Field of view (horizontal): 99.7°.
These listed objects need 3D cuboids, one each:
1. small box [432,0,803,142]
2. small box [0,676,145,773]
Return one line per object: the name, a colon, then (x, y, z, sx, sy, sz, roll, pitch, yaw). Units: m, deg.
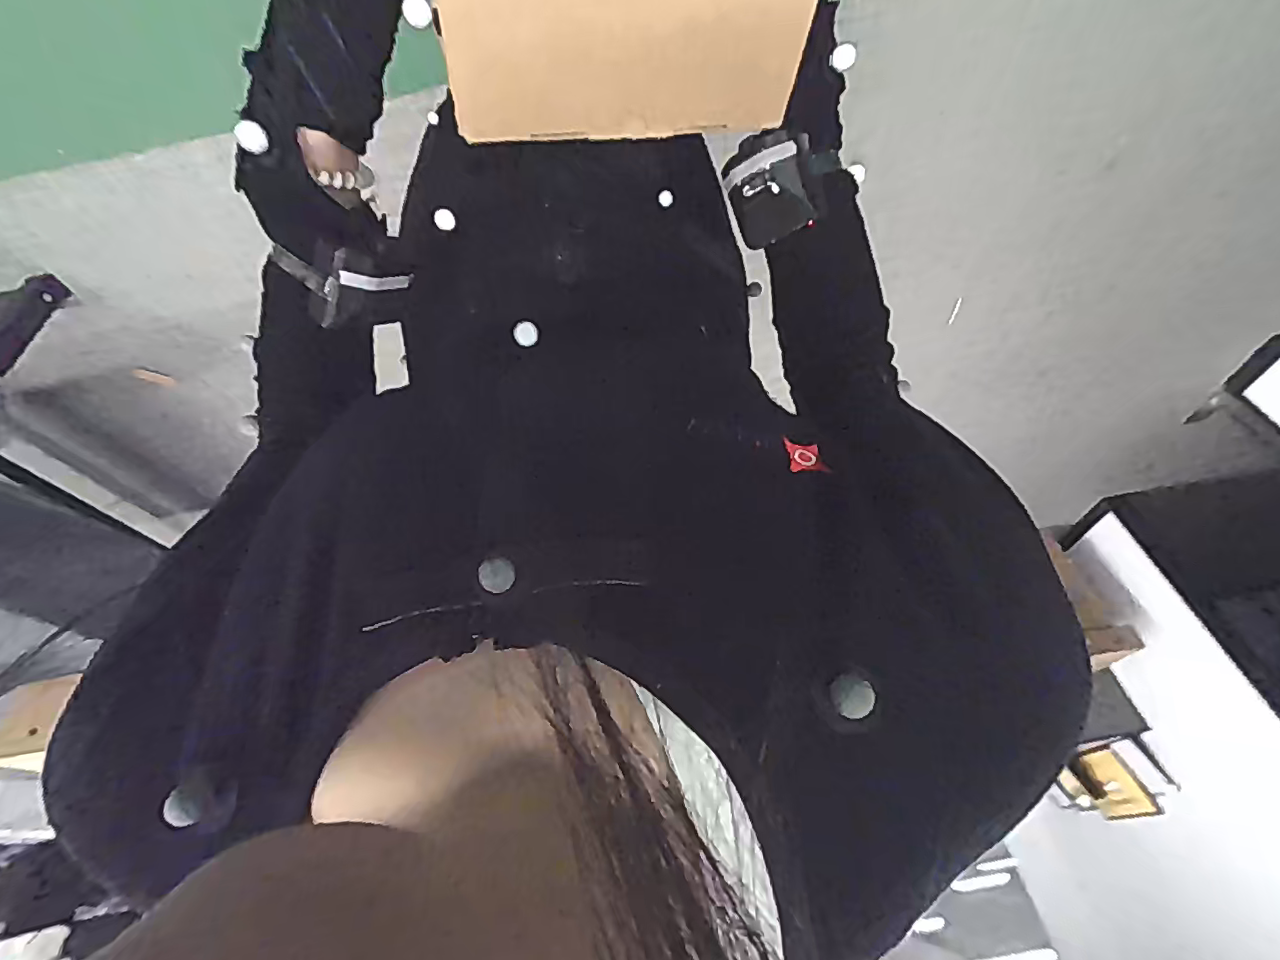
small box: (-0.022, -0.292, 0.244, 0.168, 0.176, 0.179, -11, 152, -12)
small box: (-1.330, 0.576, 1.275, 0.179, 0.176, 0.168, -11, 144, 2)
